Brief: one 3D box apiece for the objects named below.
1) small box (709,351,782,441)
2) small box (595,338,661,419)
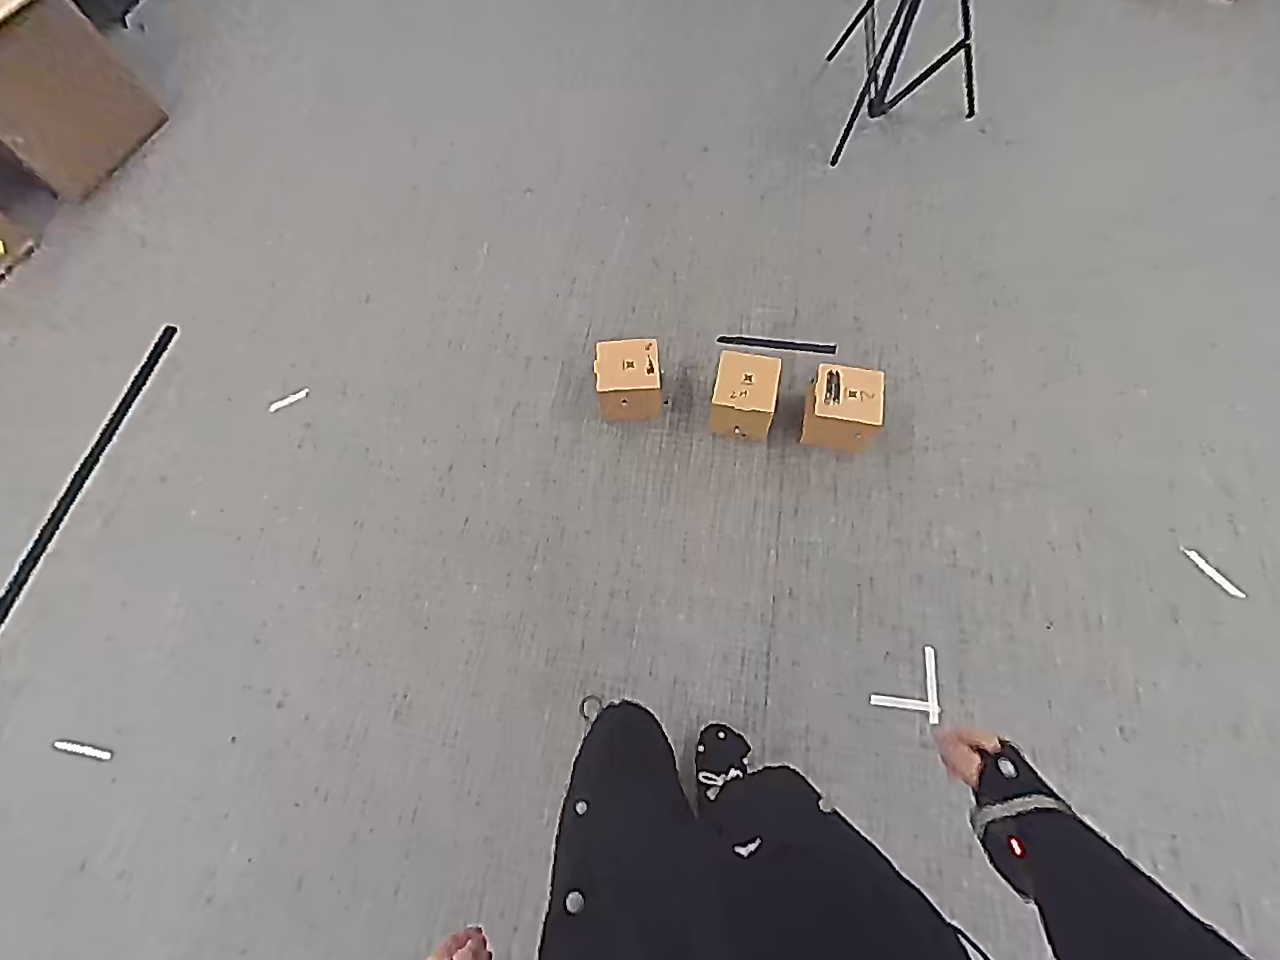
[{"bbox_3d":[0.291,-0.233,1.523,0.168,0.176,0.179,11,69,8],"label":"small box"},{"bbox_3d":[-0.032,-0.287,1.562,0.179,0.176,0.168,-3,68,2],"label":"small box"}]
